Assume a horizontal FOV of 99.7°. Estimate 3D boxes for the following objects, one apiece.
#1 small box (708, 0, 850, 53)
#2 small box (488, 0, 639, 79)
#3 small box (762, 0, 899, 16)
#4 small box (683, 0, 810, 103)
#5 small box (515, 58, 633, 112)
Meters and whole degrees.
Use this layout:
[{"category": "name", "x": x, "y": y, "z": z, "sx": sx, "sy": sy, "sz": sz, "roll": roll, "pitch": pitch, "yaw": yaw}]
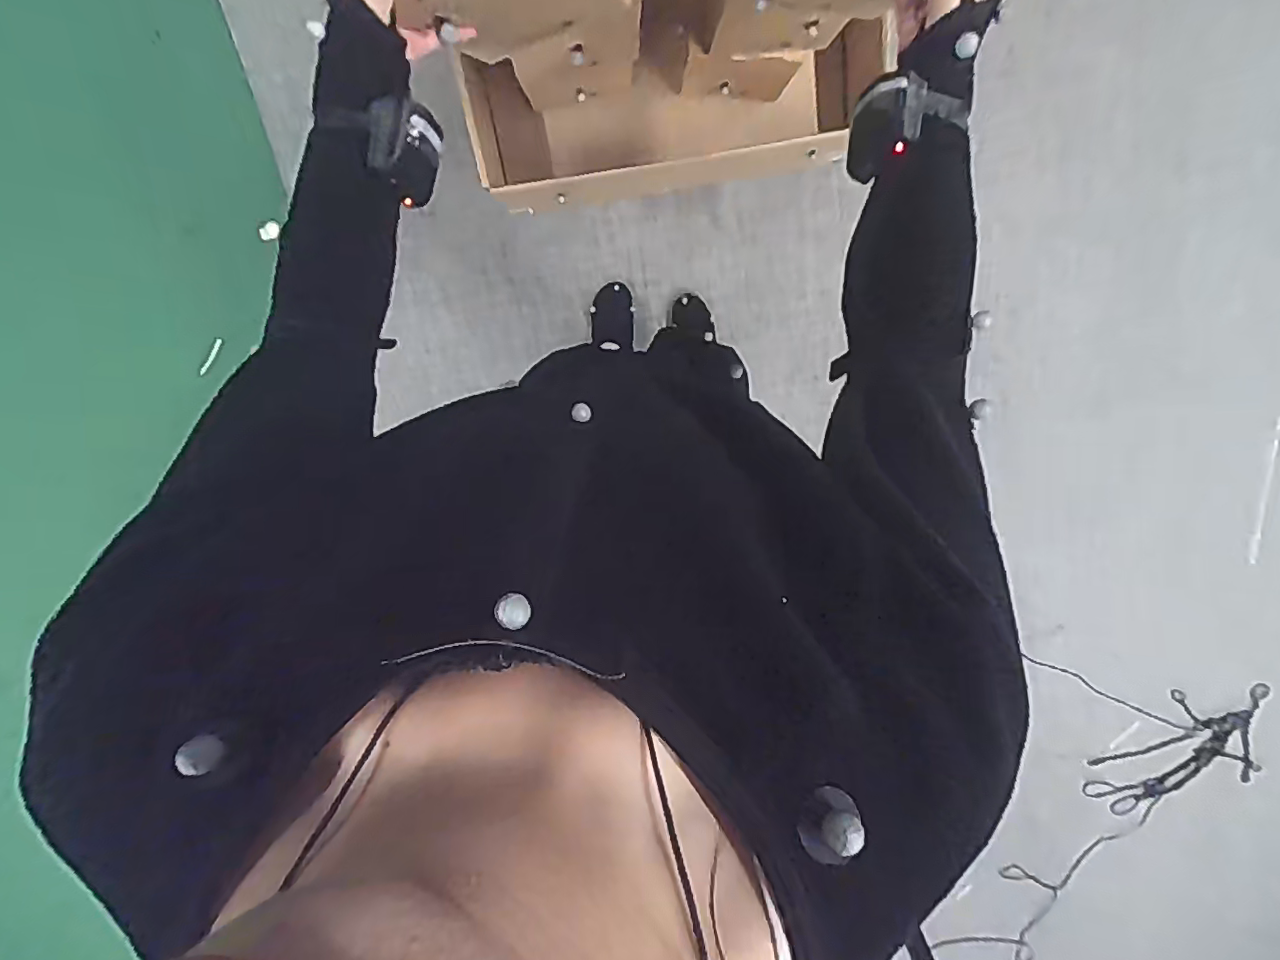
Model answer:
[{"category": "small box", "x": 0.172, "y": -0.631, "z": 0.633, "sx": 0.168, "sy": 0.176, "sz": 0.179, "roll": -3, "pitch": 110, "yaw": 0}, {"category": "small box", "x": -0.095, "y": -0.607, "z": 0.638, "sx": 0.168, "sy": 0.176, "sz": 0.179, "roll": -11, "pitch": 110, "yaw": 3}, {"category": "small box", "x": 0.177, "y": -0.509, "z": 0.436, "sx": 0.168, "sy": 0.176, "sz": 0.179, "roll": -1, "pitch": 119, "yaw": -9}, {"category": "small box", "x": 0.153, "y": -0.682, "z": 0.788, "sx": 0.168, "sy": 0.176, "sz": 0.179, "roll": 2, "pitch": 110, "yaw": -1}, {"category": "small box", "x": -0.106, "y": -0.675, "z": 0.788, "sx": 0.168, "sy": 0.176, "sz": 0.179, "roll": -11, "pitch": 110, "yaw": 4}]
